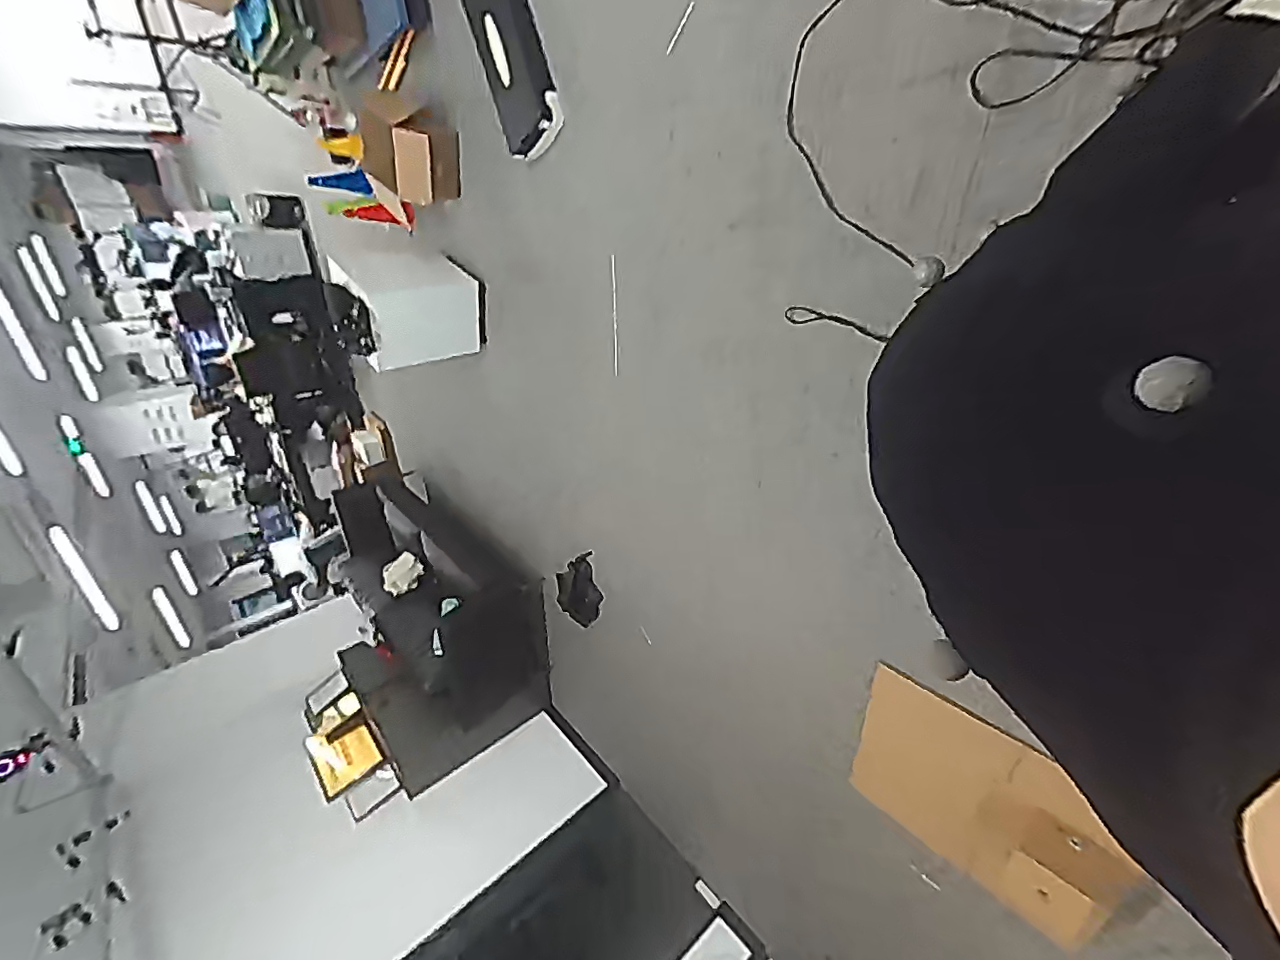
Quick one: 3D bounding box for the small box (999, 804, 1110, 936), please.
[{"bbox_3d":[1.061,0.988,1.382,0.168,0.176,0.179,26,127,41],"label":"small box"}]
